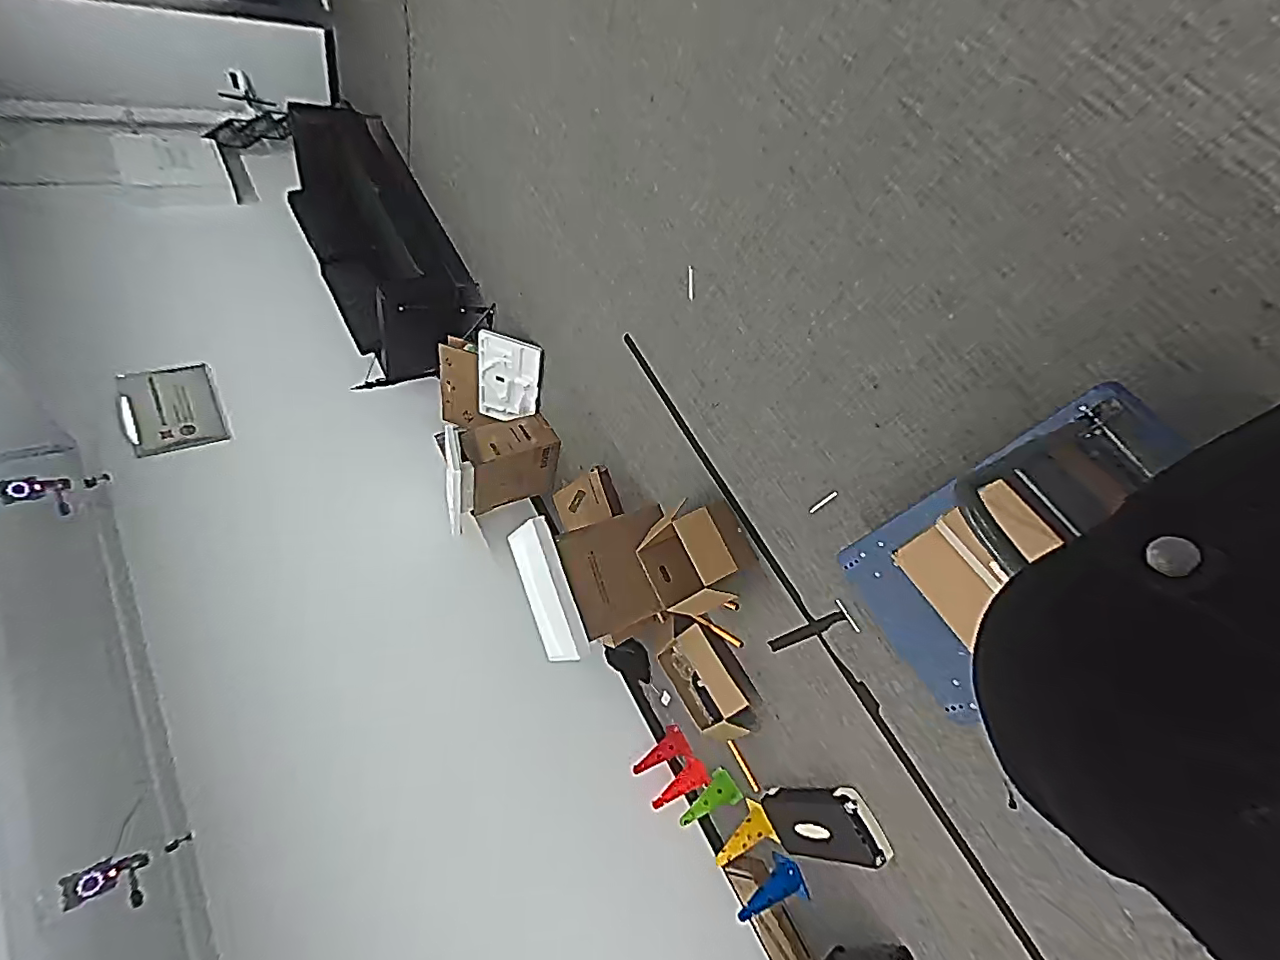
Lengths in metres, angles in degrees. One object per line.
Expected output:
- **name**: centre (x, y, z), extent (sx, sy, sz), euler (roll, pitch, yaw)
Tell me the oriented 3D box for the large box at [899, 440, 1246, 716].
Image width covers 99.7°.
- **large box**: centre (0.847, 0.189, 1.100), extent (0.408, 0.320, 0.320), euler (57, 146, 23)
